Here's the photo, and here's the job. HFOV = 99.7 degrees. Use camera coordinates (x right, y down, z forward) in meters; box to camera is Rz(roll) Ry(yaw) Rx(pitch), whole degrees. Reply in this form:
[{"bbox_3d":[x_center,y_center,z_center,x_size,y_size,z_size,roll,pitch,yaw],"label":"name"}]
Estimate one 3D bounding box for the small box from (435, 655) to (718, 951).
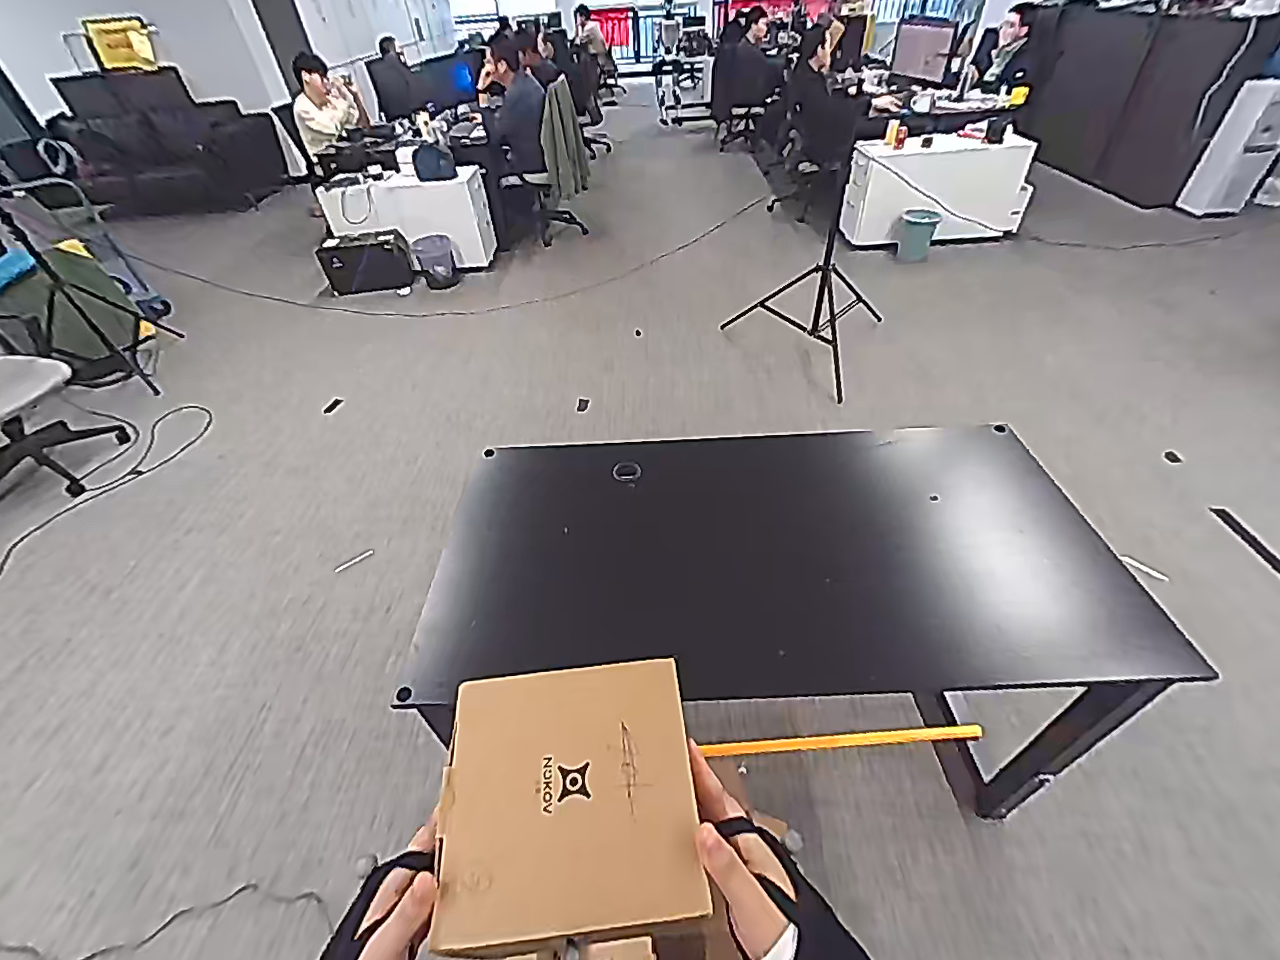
[{"bbox_3d":[-0.042,0.262,0.437,0.179,0.176,0.168,-5,49,-3],"label":"small box"}]
